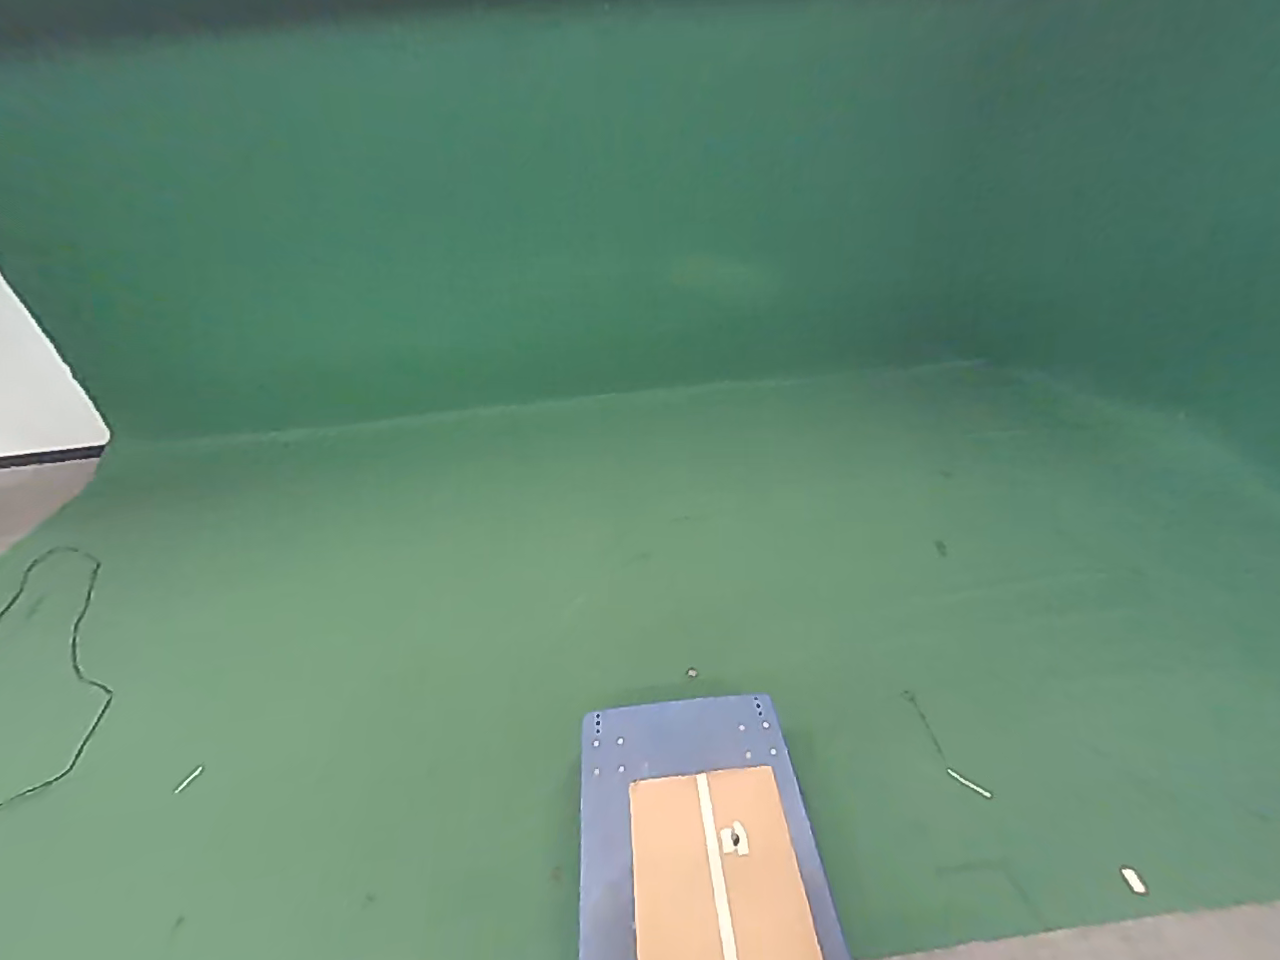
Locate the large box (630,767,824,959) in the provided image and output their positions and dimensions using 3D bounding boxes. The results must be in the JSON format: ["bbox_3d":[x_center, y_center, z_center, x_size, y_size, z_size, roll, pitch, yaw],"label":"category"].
[{"bbox_3d":[0.159,0.878,1.098,0.320,0.320,0.408,-6,34,-1],"label":"large box"}]
